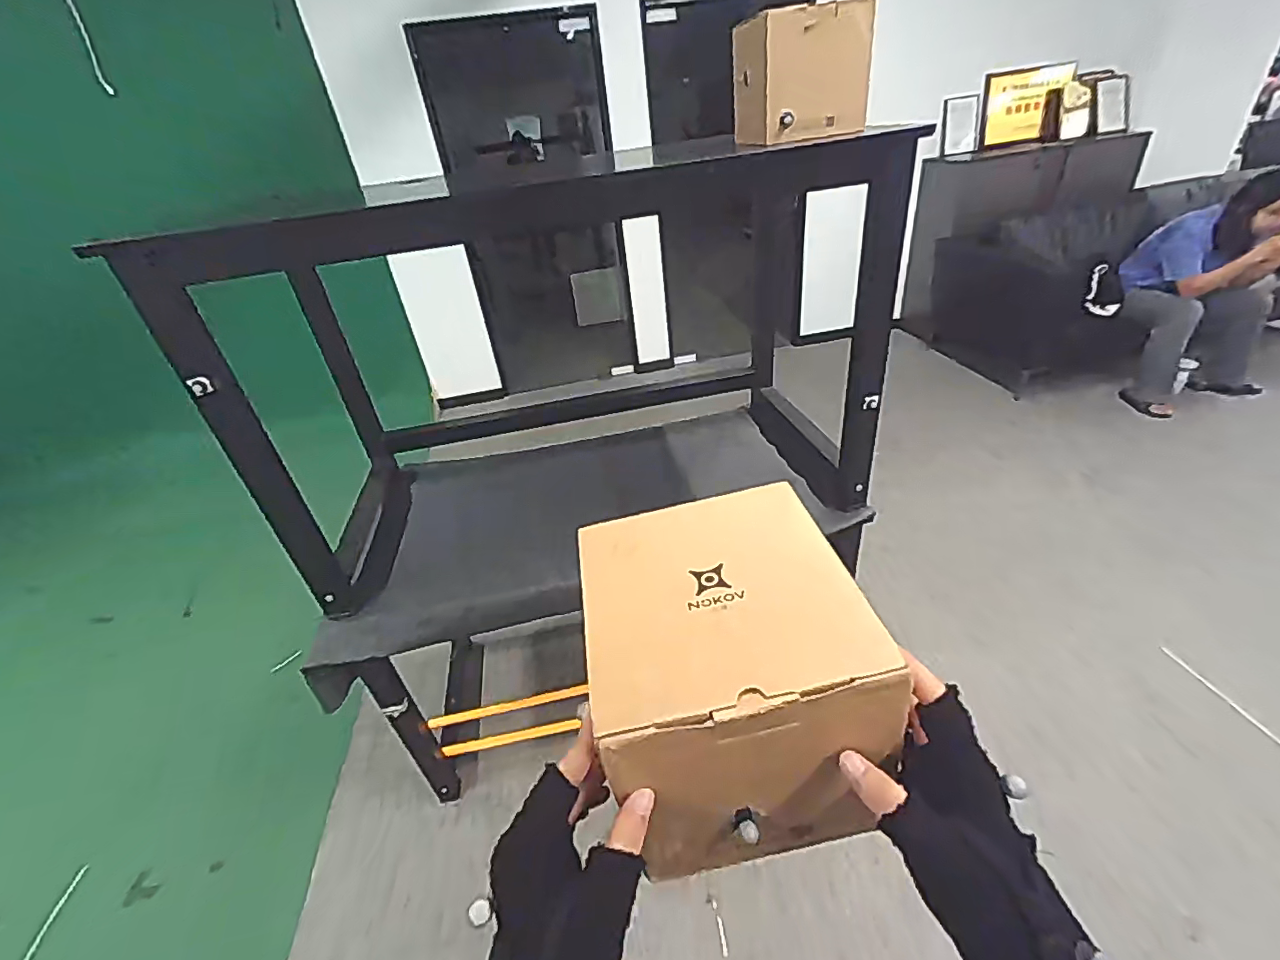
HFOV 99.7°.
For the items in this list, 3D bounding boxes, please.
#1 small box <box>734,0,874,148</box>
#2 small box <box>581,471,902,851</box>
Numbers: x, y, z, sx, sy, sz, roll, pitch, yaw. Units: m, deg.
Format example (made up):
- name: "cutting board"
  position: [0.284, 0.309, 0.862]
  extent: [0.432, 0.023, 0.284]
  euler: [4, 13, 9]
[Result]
- name: "small box"
  position: [0.259, -0.654, 0.887]
  extent: [0.168, 0.176, 0.179]
  euler: [-10, 32, -3]
- name: "small box"
  position: [0.057, 0.120, 0.388]
  extent: [0.168, 0.176, 0.179]
  euler: [-13, 33, -1]
